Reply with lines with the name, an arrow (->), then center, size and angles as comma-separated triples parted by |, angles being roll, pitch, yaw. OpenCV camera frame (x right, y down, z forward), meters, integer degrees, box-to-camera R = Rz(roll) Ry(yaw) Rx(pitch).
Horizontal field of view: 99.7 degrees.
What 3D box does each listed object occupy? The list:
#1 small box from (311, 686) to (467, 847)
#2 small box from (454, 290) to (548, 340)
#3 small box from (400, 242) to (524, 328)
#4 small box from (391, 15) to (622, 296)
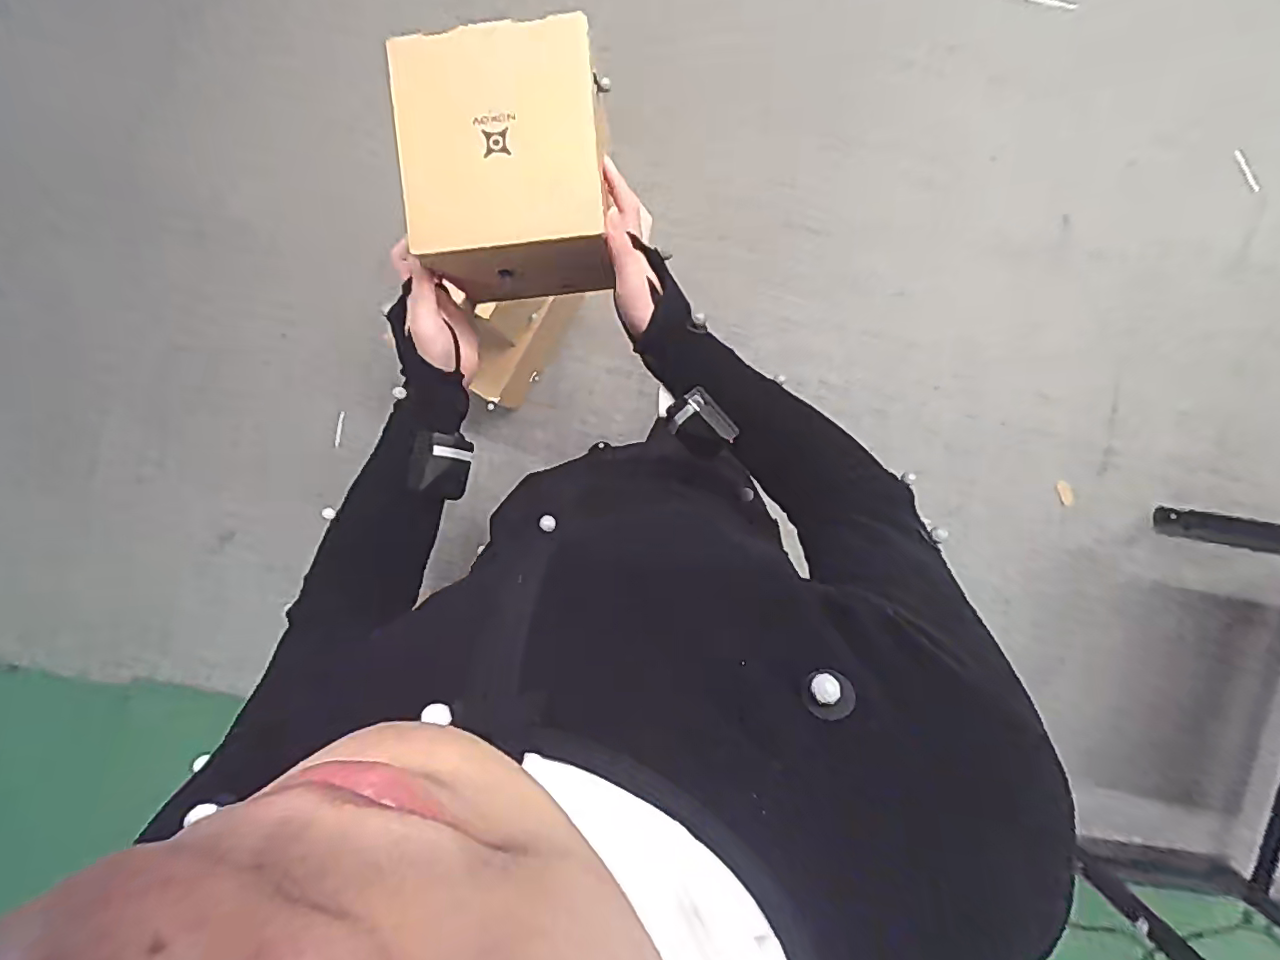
small box -> -0.425, 0.483, 0.944 | 0.168, 0.176, 0.179 | -16, 94, 0
small box -> -0.323, -0.429, 1.195 | 0.179, 0.176, 0.168 | 32, 94, -6
small box -> -0.312, -0.408, 1.033 | 0.179, 0.176, 0.168 | 30, 93, -5
small box -> -0.111, -0.286, 0.522 | 0.168, 0.176, 0.179 | -5, 95, 3
